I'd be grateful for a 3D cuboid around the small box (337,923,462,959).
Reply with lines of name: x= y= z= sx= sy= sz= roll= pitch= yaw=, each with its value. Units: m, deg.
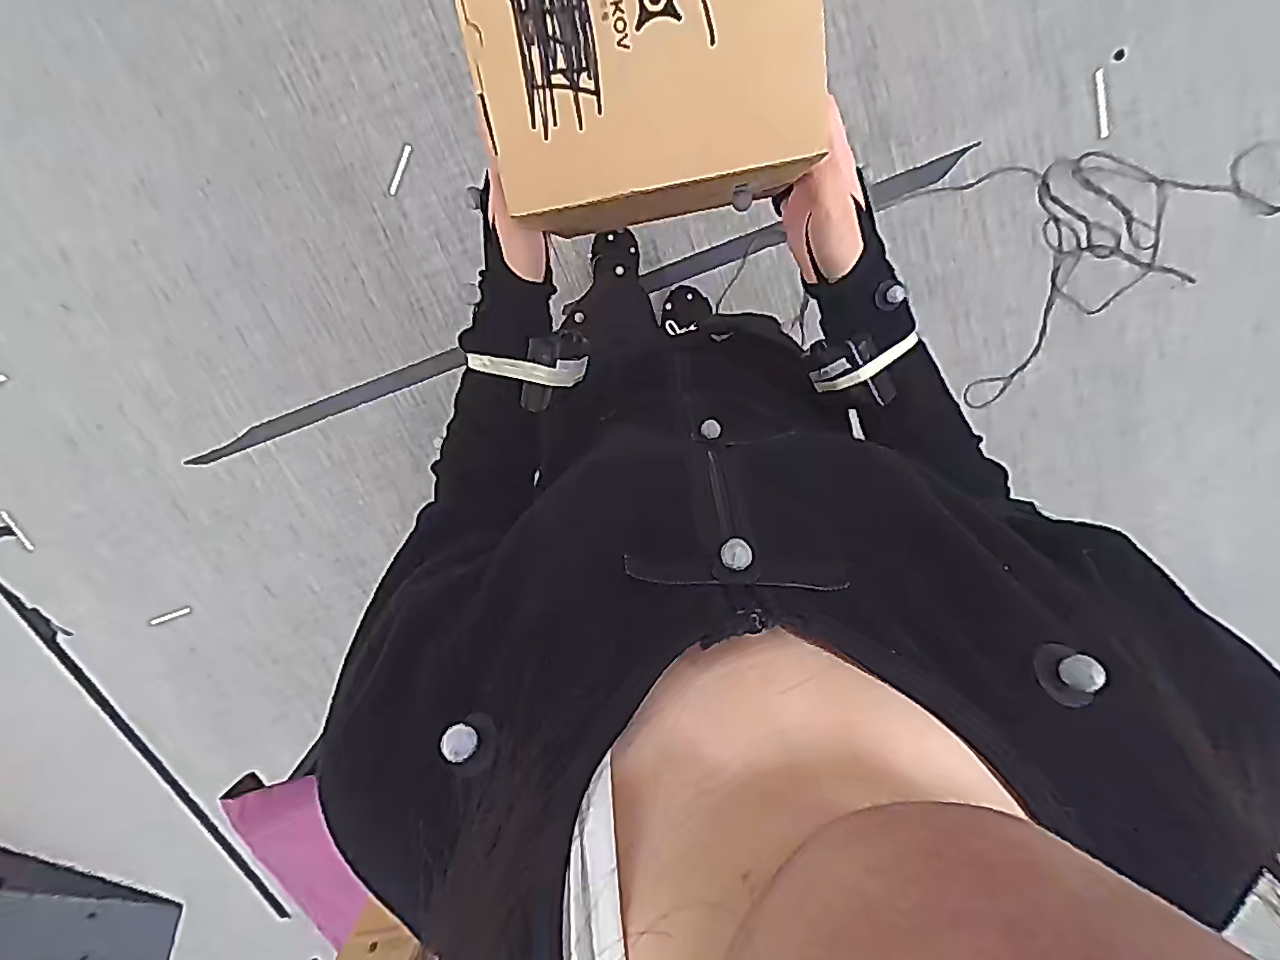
small box: x=-0.355 y=0.790 z=0.777 sx=0.168 sy=0.176 sz=0.179 roll=-15 pitch=108 yaw=6
